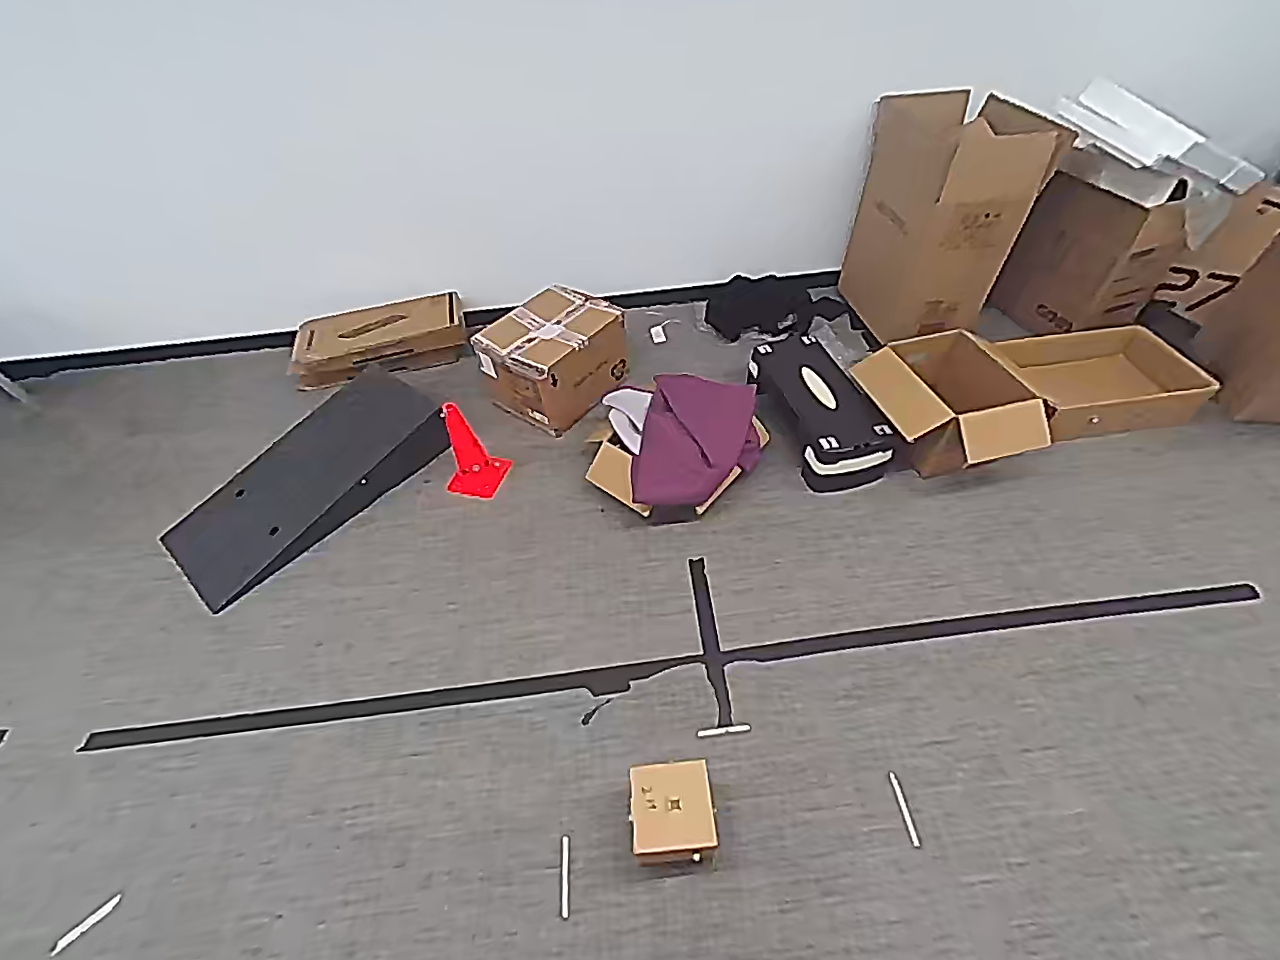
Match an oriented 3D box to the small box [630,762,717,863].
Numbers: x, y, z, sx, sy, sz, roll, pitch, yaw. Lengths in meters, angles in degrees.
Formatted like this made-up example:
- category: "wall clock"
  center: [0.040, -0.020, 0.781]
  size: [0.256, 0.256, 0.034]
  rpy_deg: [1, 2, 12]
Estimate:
- category: "small box"
  center: [0.073, 0.758, 1.229]
  size: [0.179, 0.176, 0.168]
  rpy_deg: [-6, 48, 0]
